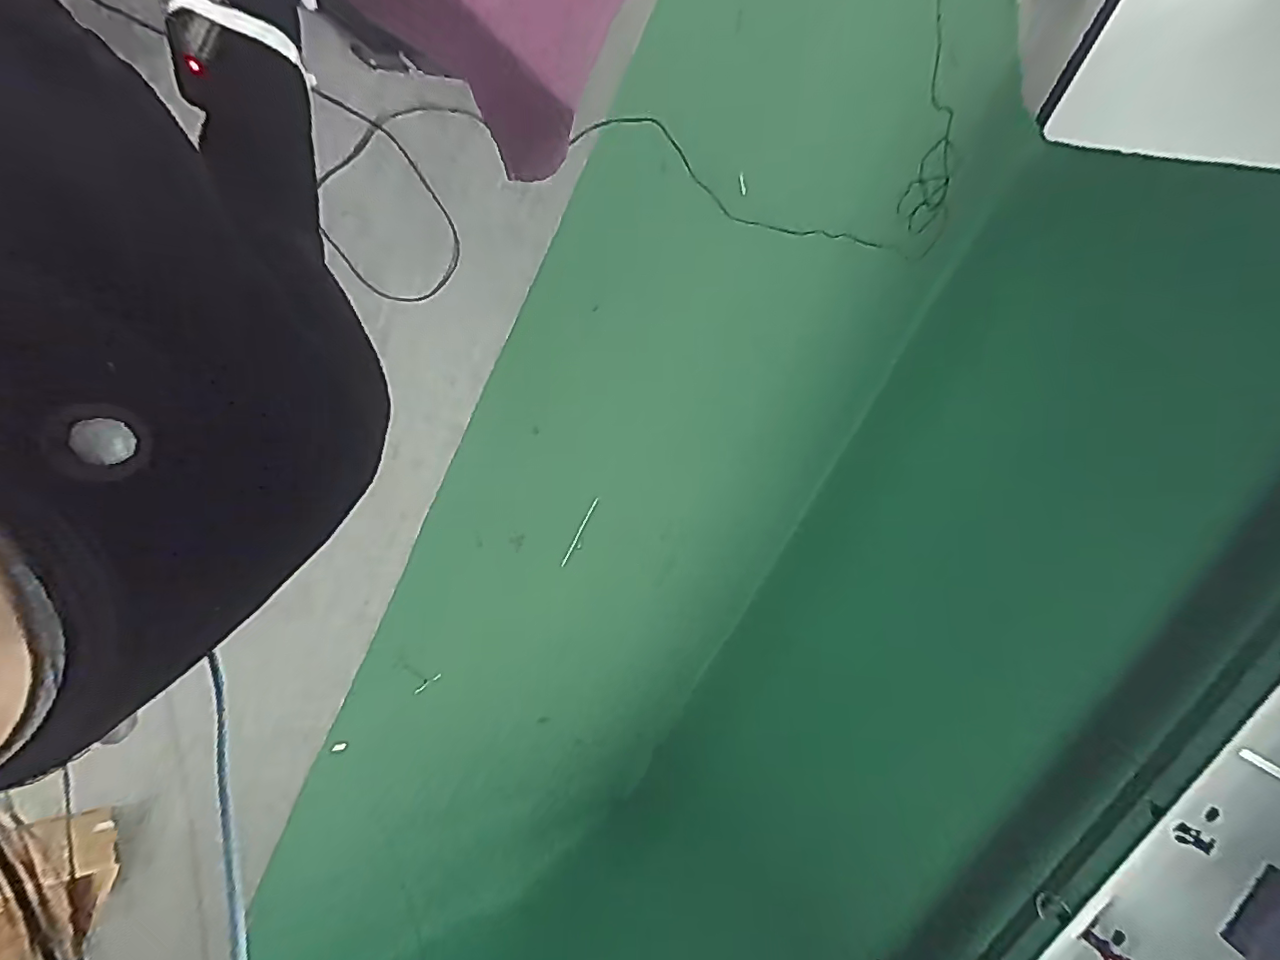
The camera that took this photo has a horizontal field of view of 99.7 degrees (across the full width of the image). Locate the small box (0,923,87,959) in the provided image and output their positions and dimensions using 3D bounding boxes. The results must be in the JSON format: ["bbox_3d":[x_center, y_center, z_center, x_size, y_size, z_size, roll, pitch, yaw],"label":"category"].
[{"bbox_3d":[-1.554,1.301,1.380,0.179,0.176,0.168,10,110,-51],"label":"small box"}]
